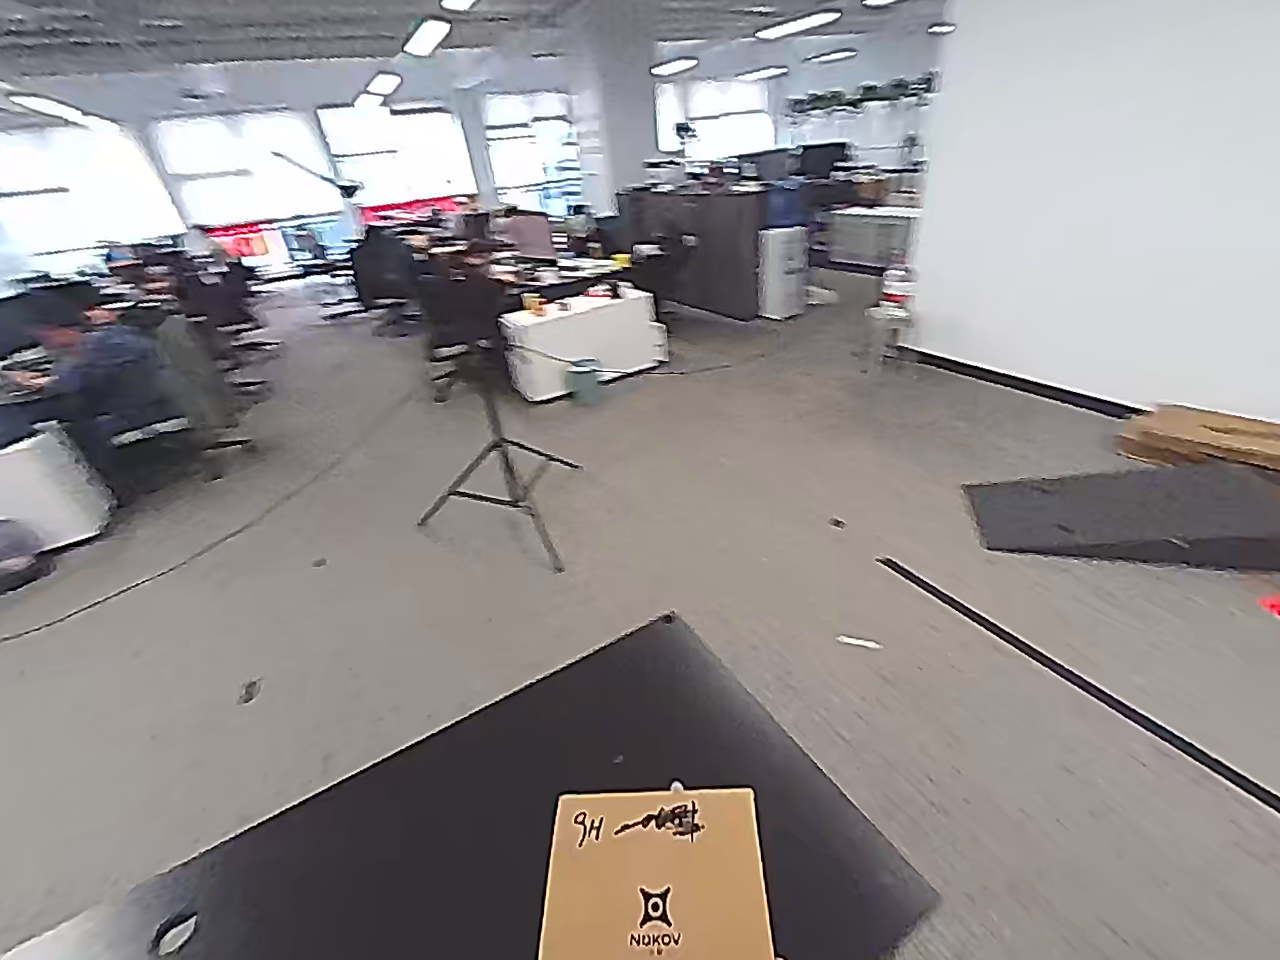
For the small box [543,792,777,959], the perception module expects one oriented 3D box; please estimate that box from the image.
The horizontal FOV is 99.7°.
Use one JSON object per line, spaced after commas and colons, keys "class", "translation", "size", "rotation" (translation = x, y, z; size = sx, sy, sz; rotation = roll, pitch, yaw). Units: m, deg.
{"class": "small box", "translation": [0.025, 0.378, 0.437], "size": [0.168, 0.176, 0.179], "rotation": [-5, 40, 6]}
